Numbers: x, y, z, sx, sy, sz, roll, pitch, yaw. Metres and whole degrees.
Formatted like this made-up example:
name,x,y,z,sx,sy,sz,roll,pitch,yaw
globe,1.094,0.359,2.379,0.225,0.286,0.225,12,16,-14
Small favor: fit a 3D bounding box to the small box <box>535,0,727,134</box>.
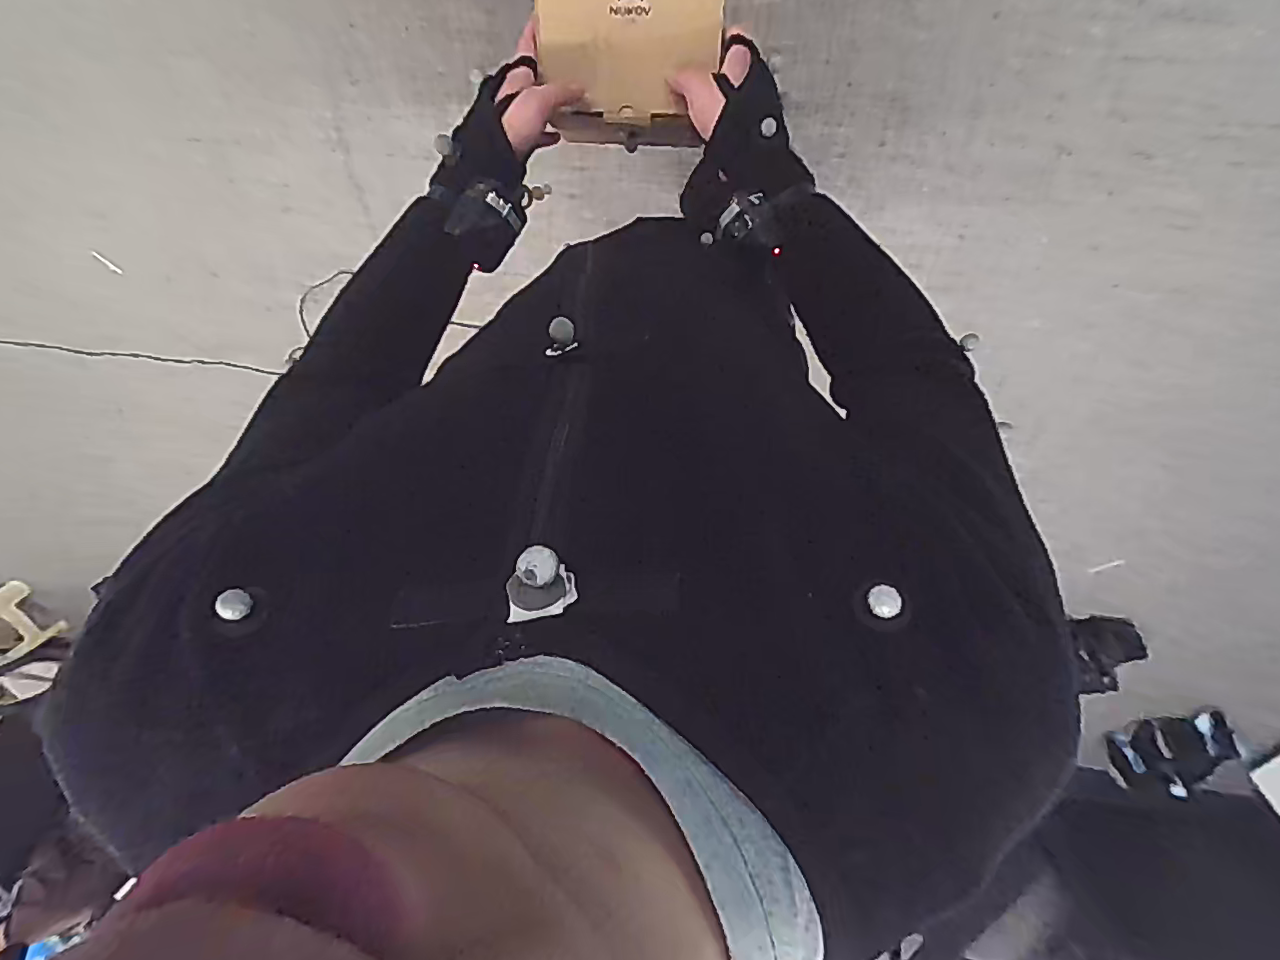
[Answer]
name,x,y,z,sx,sy,sz,roll,pitch,yaw
small box,-0.003,-0.446,0.520,0.168,0.176,0.179,2,115,2
